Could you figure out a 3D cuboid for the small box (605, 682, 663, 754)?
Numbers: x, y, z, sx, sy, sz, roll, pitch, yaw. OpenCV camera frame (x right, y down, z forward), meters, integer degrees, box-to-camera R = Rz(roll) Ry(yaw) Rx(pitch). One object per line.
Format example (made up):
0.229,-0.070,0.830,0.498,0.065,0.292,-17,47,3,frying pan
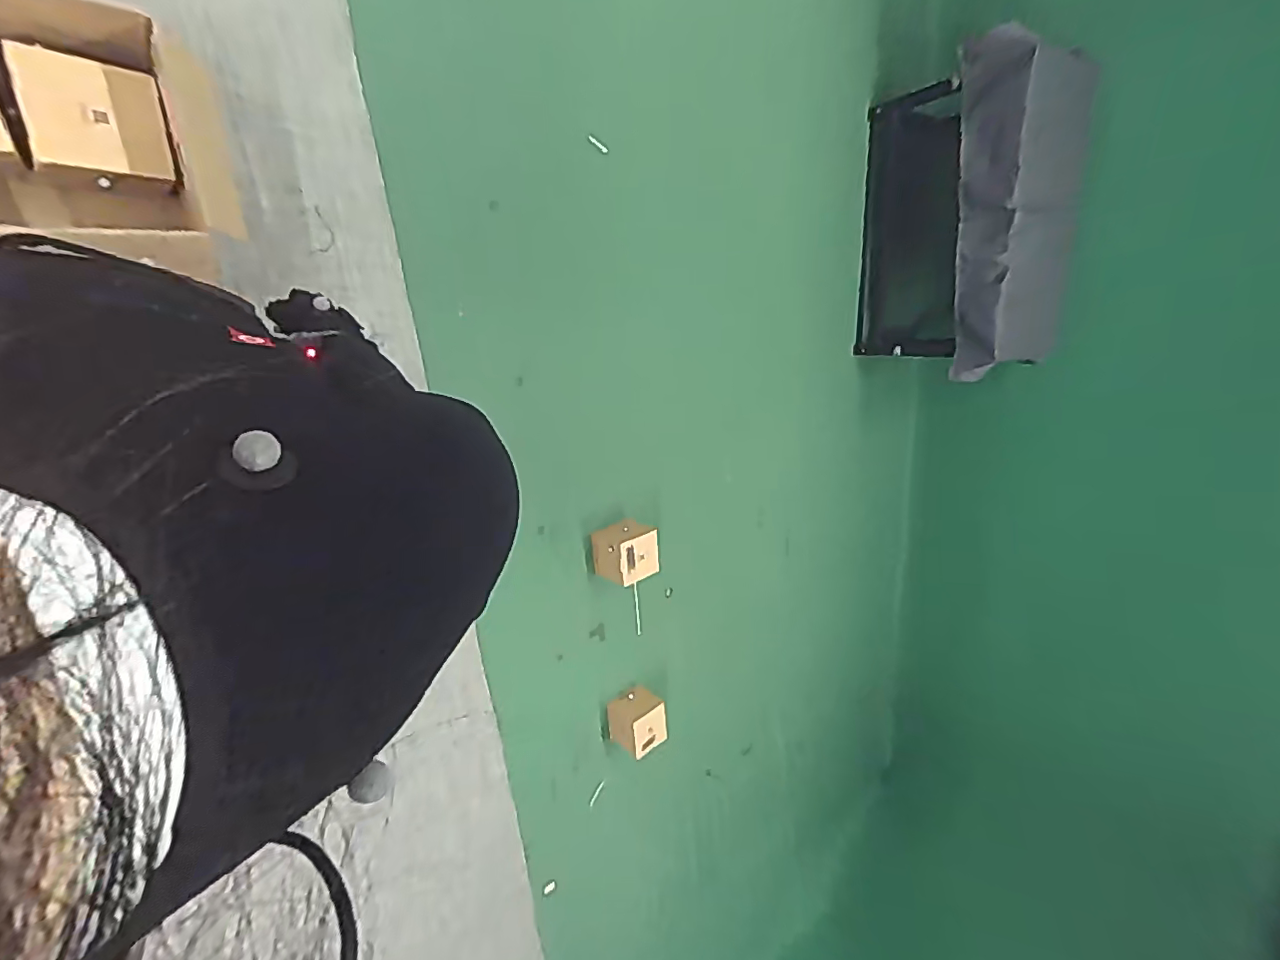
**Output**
-0.027,0.955,2.184,0.168,0.176,0.179,-18,112,-39,small box
